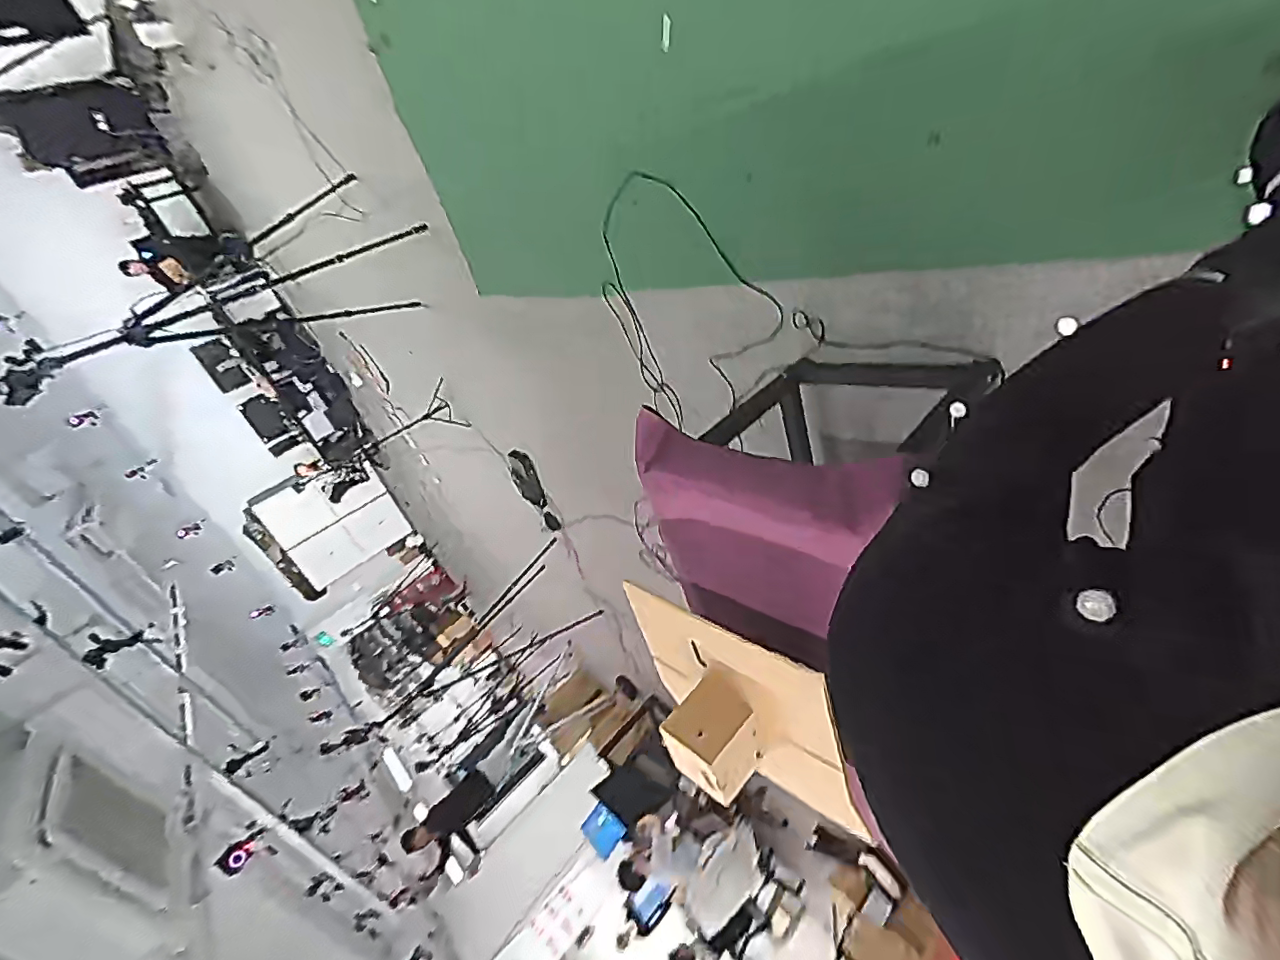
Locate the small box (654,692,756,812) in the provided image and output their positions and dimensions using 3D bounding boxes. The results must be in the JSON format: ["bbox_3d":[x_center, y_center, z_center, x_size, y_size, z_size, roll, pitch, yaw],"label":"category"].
[{"bbox_3d":[0.169,0.663,1.340,0.179,0.176,0.168,14,131,49],"label":"small box"}]
